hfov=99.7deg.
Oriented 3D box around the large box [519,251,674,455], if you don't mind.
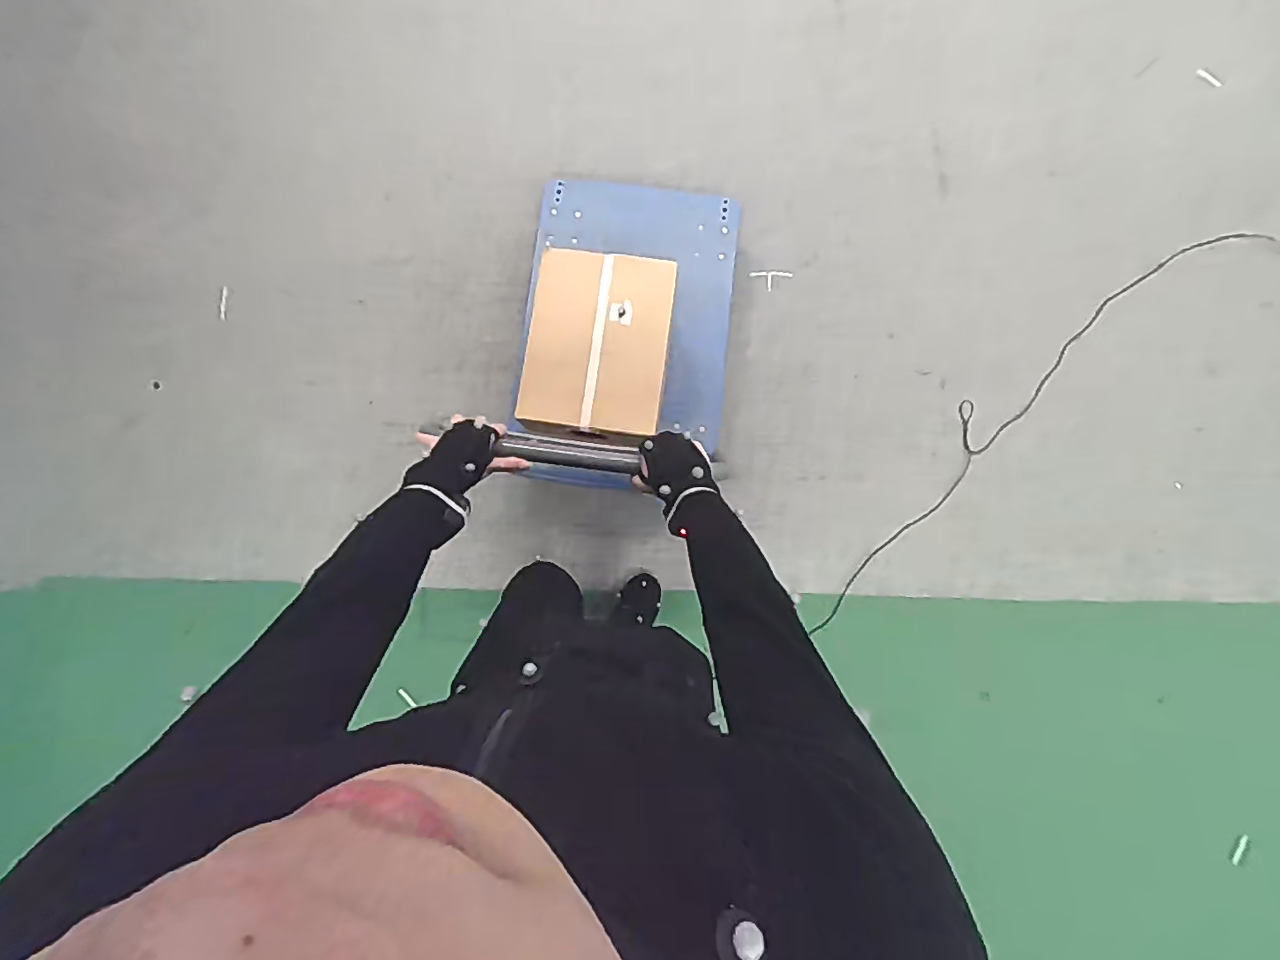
[{"bbox_3d":[-0.091,-0.293,1.353,0.320,0.320,0.408,7,83,1],"label":"large box"}]
